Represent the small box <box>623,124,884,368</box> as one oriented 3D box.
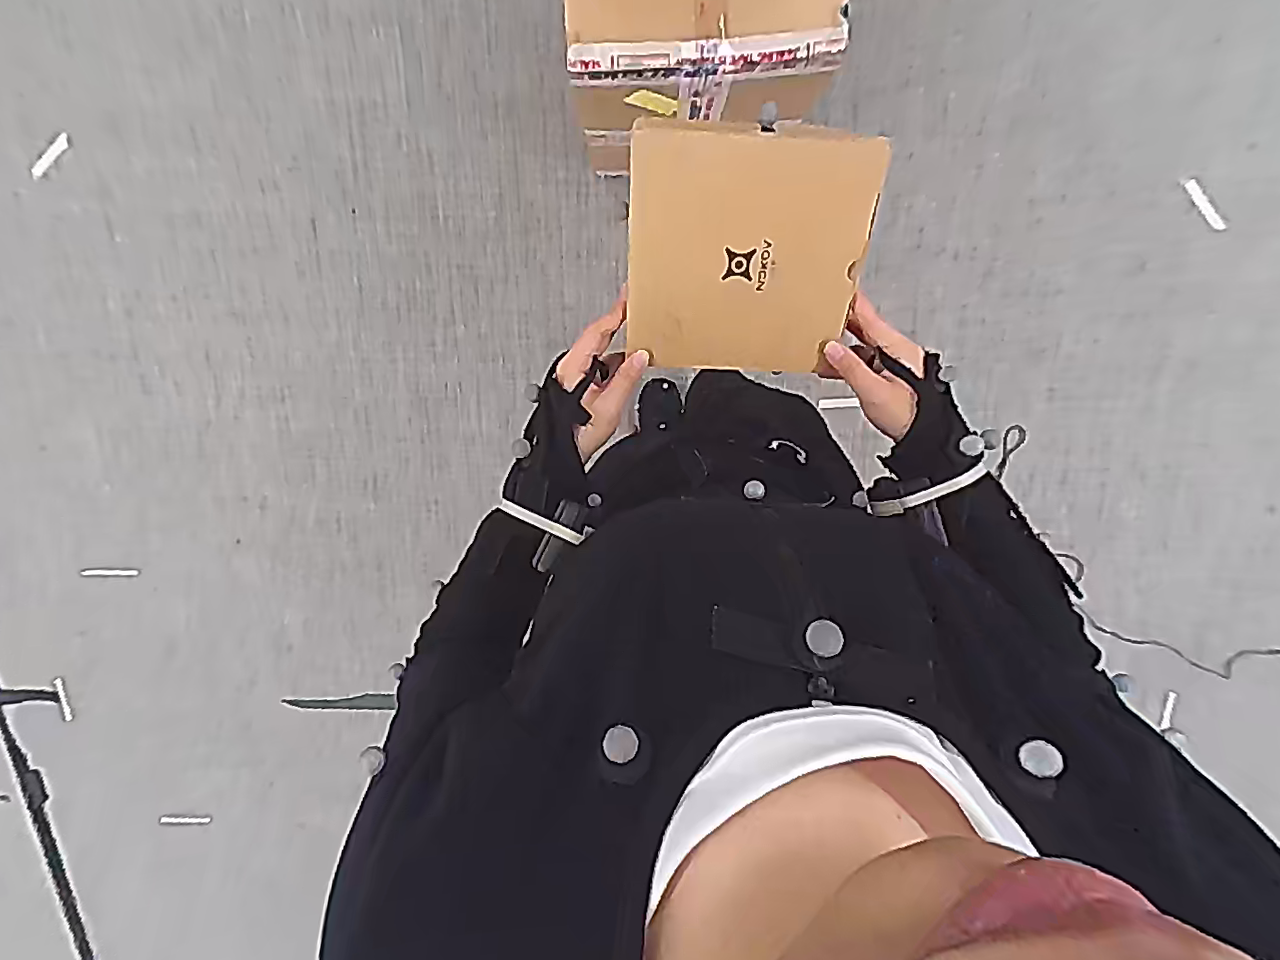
[{"bbox_3d":[0.077,-0.211,0.476,0.179,0.176,0.168,1,125,-2],"label":"small box"}]
